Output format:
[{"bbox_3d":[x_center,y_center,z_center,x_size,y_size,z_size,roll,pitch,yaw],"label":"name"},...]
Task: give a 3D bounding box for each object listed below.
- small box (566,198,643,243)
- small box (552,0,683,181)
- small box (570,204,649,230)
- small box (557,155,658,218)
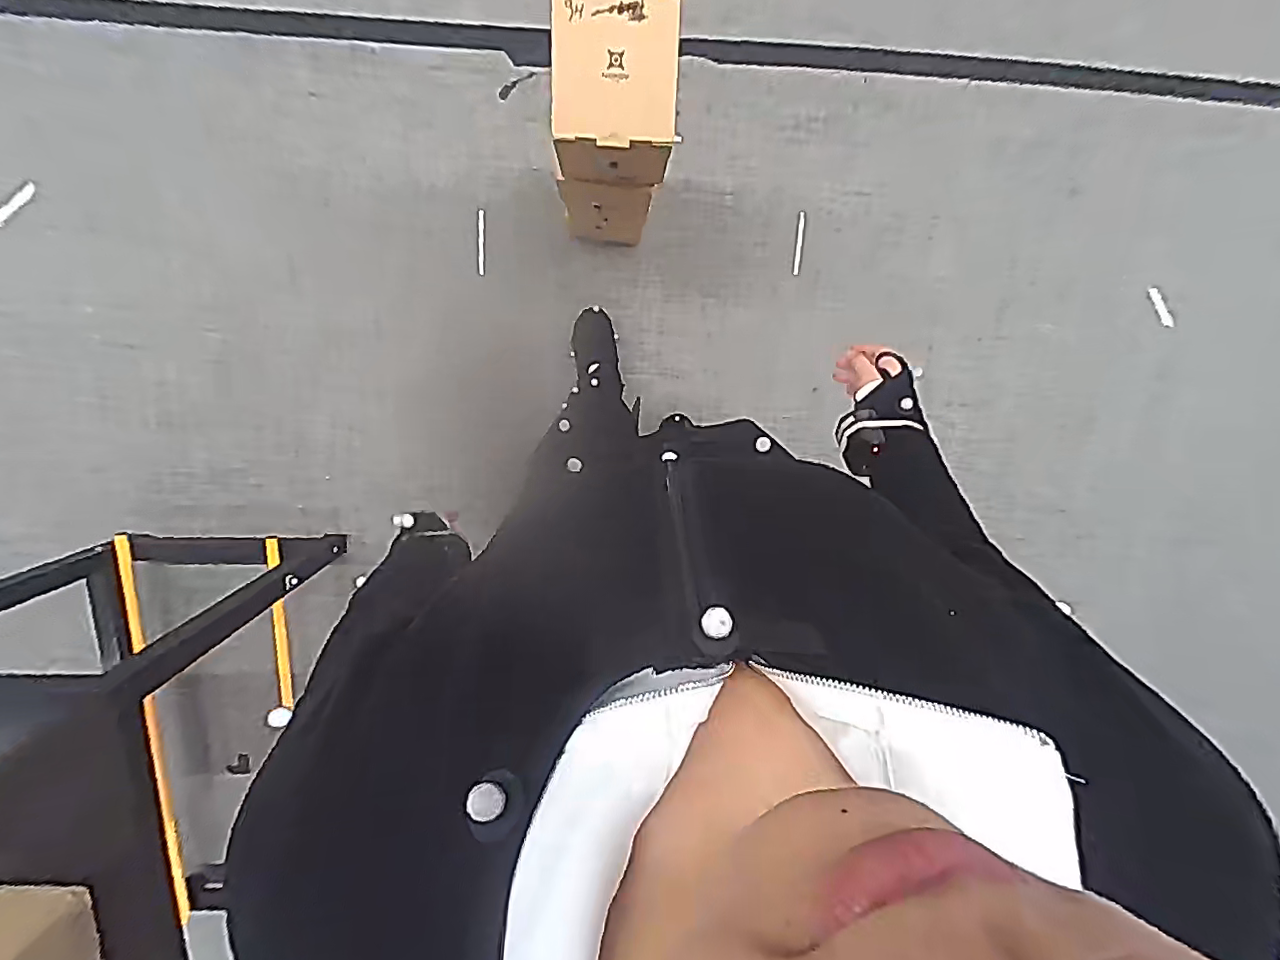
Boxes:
[{"bbox_3d":[-0.072,-0.660,1.256,0.179,0.176,0.168,6,103,-5],"label":"small box"},{"bbox_3d":[-0.033,-0.549,0.778,0.168,0.176,0.179,2,103,-3],"label":"small box"},{"bbox_3d":[-0.056,-0.628,1.095,0.168,0.176,0.179,6,103,-4],"label":"small box"},{"bbox_3d":[-0.048,-0.578,0.940,0.168,0.176,0.179,6,104,-4],"label":"small box"}]
